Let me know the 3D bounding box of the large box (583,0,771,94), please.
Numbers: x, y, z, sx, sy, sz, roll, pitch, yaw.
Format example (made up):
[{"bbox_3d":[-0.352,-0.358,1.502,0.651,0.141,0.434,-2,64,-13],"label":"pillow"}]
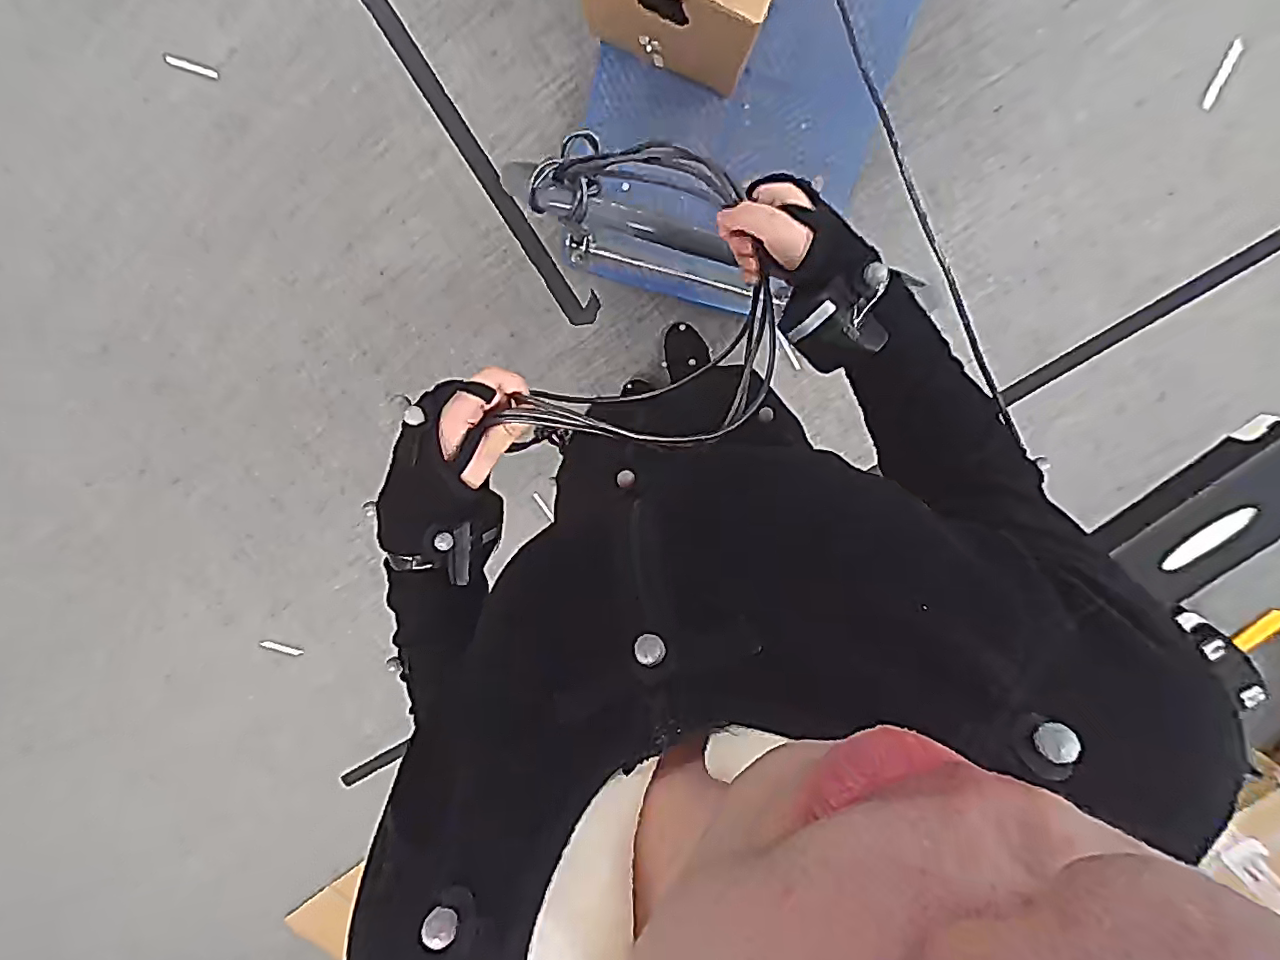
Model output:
[{"bbox_3d":[0.106,-0.946,0.870,0.320,0.320,0.408,21,107,-6],"label":"large box"}]
